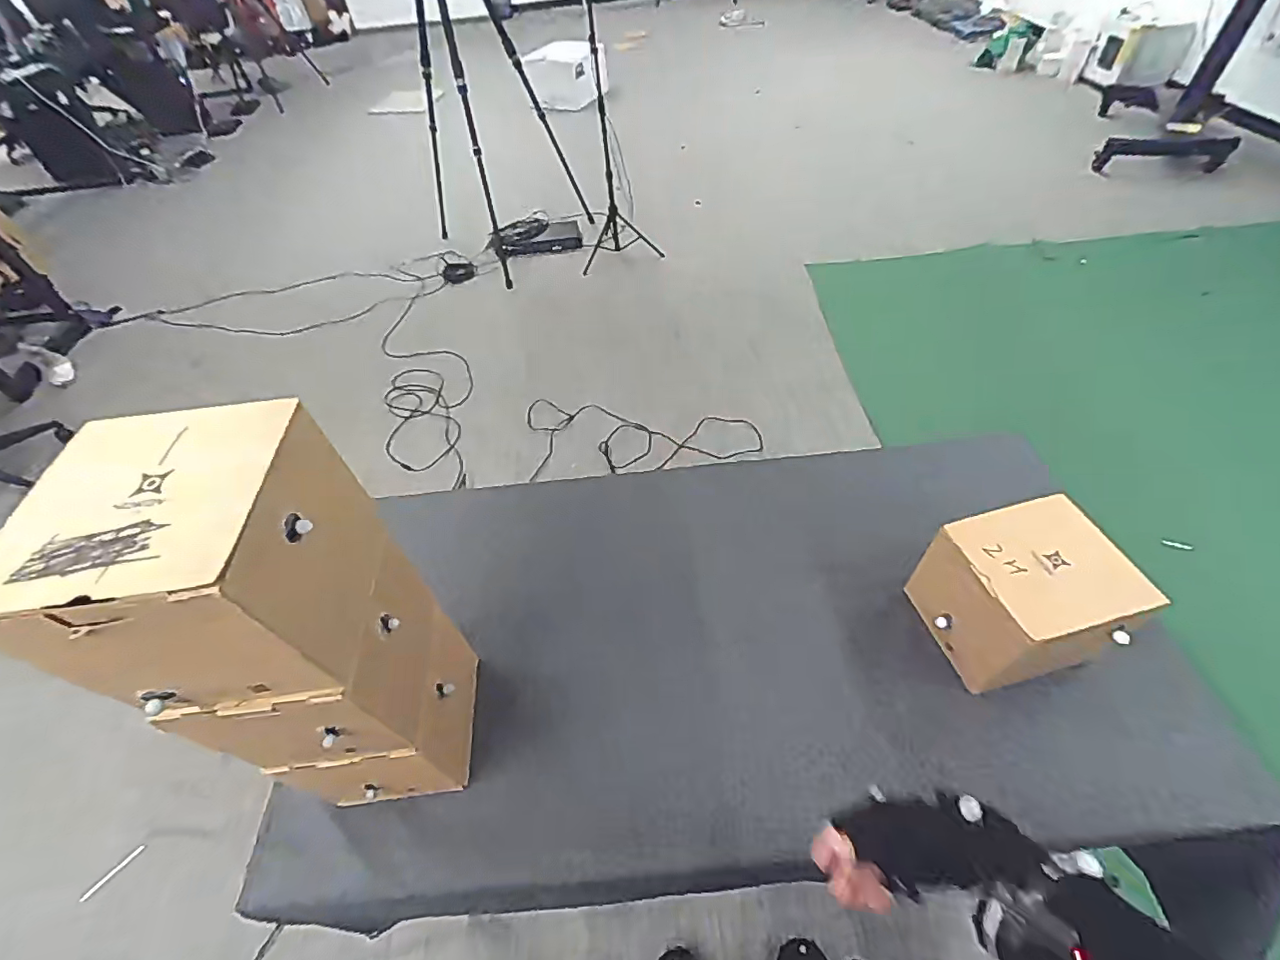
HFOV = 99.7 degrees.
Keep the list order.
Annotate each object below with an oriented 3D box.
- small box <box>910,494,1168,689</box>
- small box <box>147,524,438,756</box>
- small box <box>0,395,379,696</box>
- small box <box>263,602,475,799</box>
[{"bbox_3d":[0.491,0.147,0.702,0.179,0.176,0.168,-14,50,-5],"label":"small box"},{"bbox_3d":[-0.324,0.169,0.555,0.168,0.176,0.179,-6,50,-1],"label":"small box"},{"bbox_3d":[-0.335,0.059,0.434,0.168,0.176,0.179,-7,50,-2],"label":"small box"},{"bbox_3d":[-0.315,0.277,0.677,0.168,0.176,0.179,-7,50,-1],"label":"small box"}]
